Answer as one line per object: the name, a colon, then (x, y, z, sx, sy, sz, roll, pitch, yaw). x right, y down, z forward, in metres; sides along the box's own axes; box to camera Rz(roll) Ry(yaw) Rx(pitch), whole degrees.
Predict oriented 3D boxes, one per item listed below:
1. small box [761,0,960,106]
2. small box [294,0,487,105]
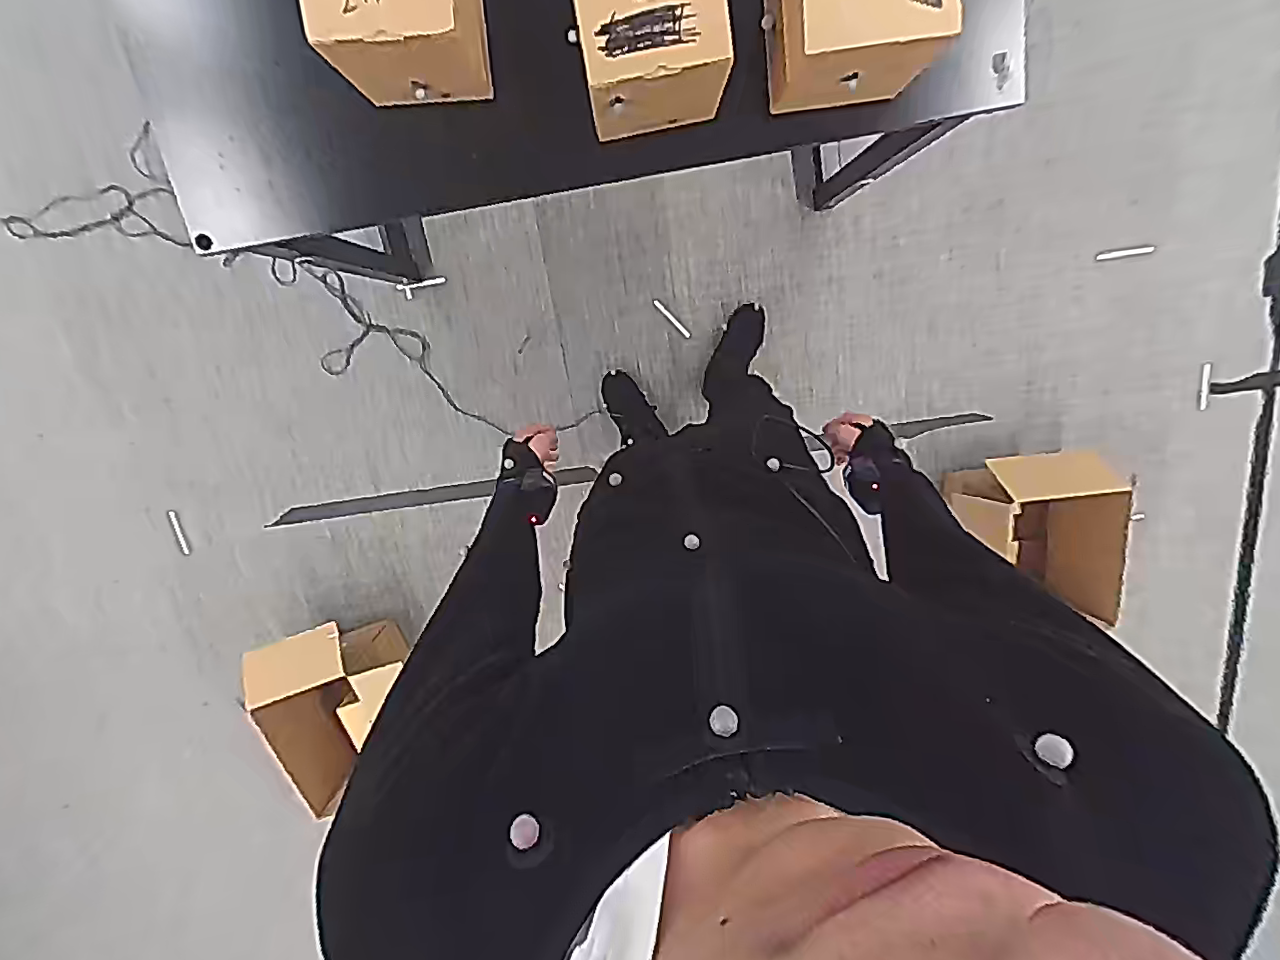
small box: (0.253, -0.582, 0.648, 0.179, 0.176, 0.168, -7, 104, 2)
small box: (-0.291, -0.582, 0.641, 0.168, 0.176, 0.179, -4, 105, 0)
